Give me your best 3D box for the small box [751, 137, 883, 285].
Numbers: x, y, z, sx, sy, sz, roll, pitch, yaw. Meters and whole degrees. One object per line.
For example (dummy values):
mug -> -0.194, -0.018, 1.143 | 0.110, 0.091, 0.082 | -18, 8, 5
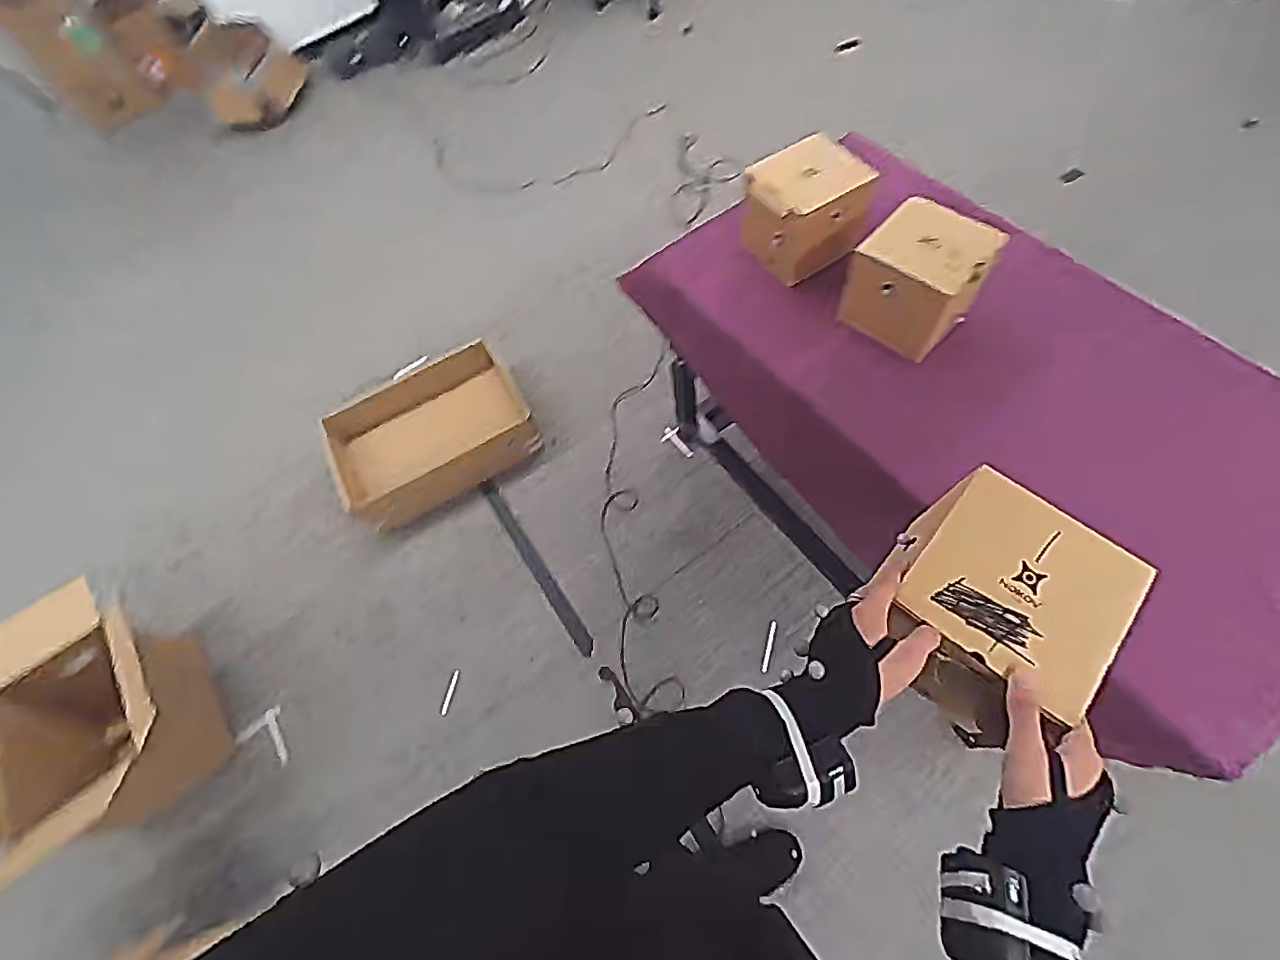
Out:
small box -> 0.333, -0.520, 1.061 | 0.179, 0.176, 0.168 | -30, 65, -8

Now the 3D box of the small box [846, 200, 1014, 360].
small box -> 0.494, -0.345, 0.953 | 0.168, 0.176, 0.179 | -43, 67, -13

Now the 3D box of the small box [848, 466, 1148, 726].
small box -> 0.337, 0.126, 0.549 | 0.168, 0.176, 0.179 | 38, 71, 18
